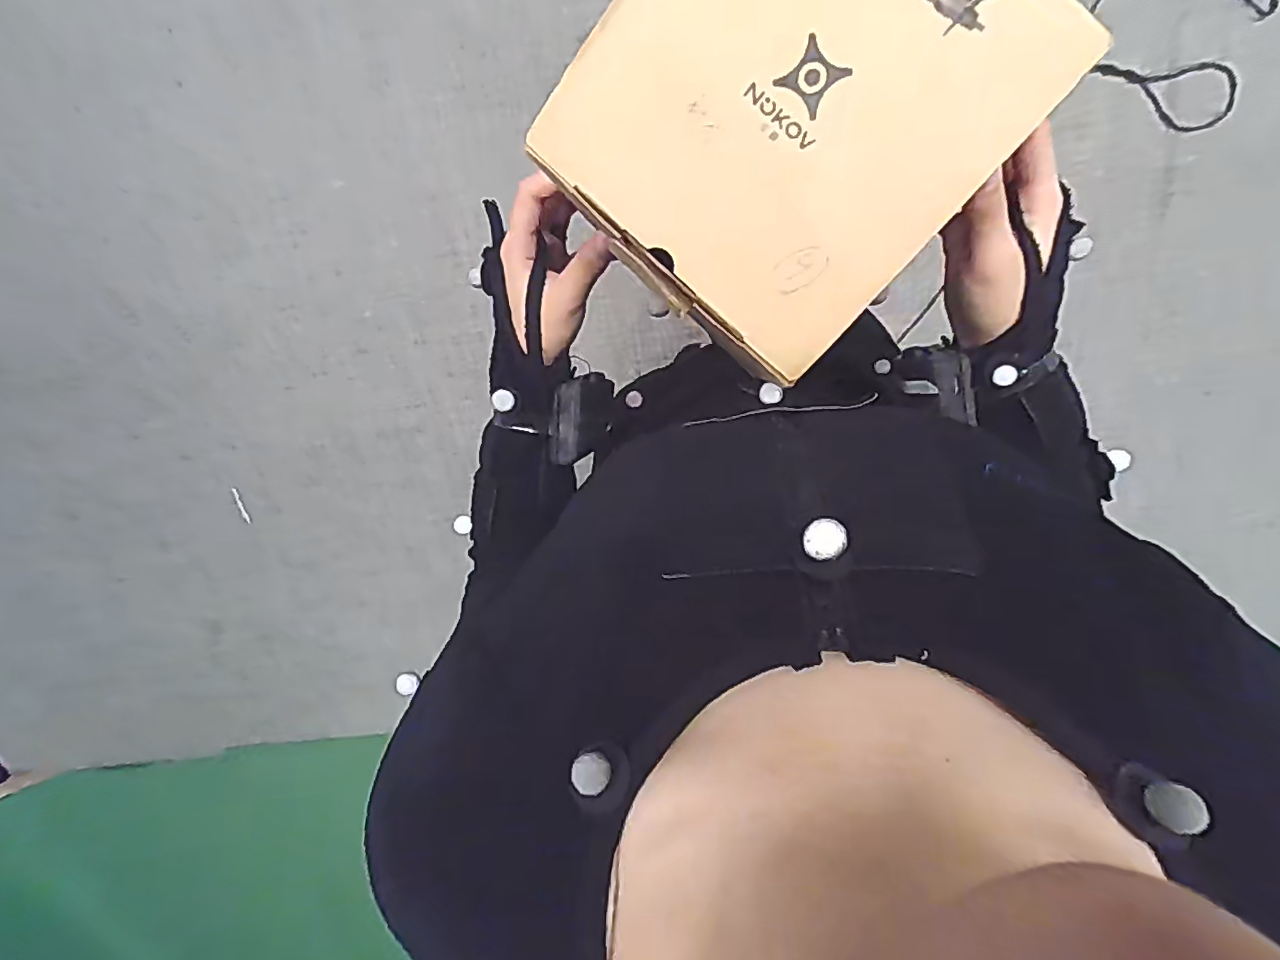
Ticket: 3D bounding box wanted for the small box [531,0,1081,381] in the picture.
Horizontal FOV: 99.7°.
[{"bbox_3d":[0.074,-0.176,0.311,0.168,0.176,0.179,42,105,-2],"label":"small box"}]
